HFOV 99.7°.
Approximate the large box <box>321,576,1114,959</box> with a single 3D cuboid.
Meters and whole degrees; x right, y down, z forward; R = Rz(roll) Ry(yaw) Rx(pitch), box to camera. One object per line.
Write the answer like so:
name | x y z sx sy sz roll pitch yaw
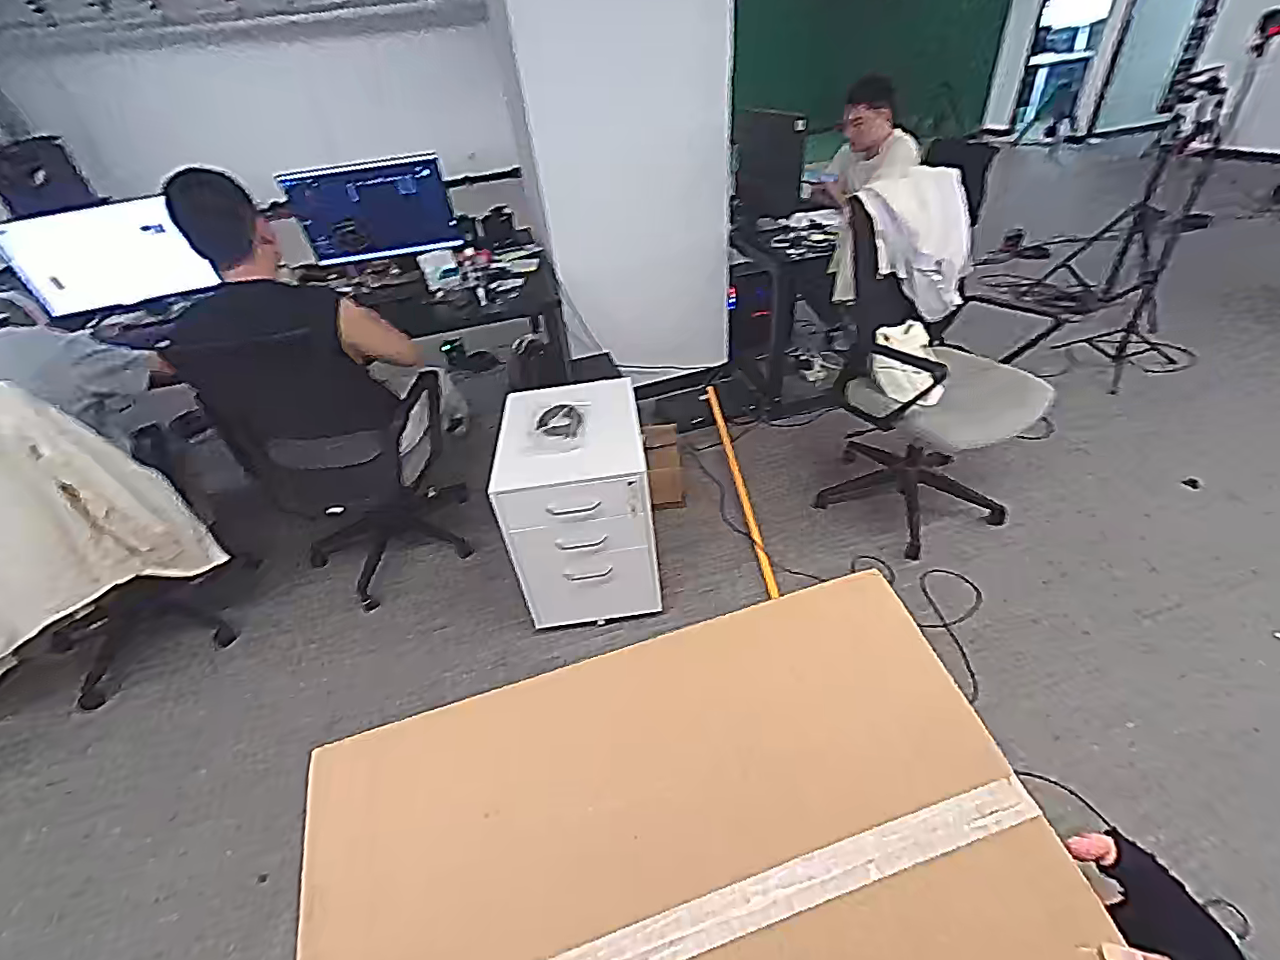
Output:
large box | 0.037 0.332 0.409 0.408 0.320 0.320 -16 54 -8
